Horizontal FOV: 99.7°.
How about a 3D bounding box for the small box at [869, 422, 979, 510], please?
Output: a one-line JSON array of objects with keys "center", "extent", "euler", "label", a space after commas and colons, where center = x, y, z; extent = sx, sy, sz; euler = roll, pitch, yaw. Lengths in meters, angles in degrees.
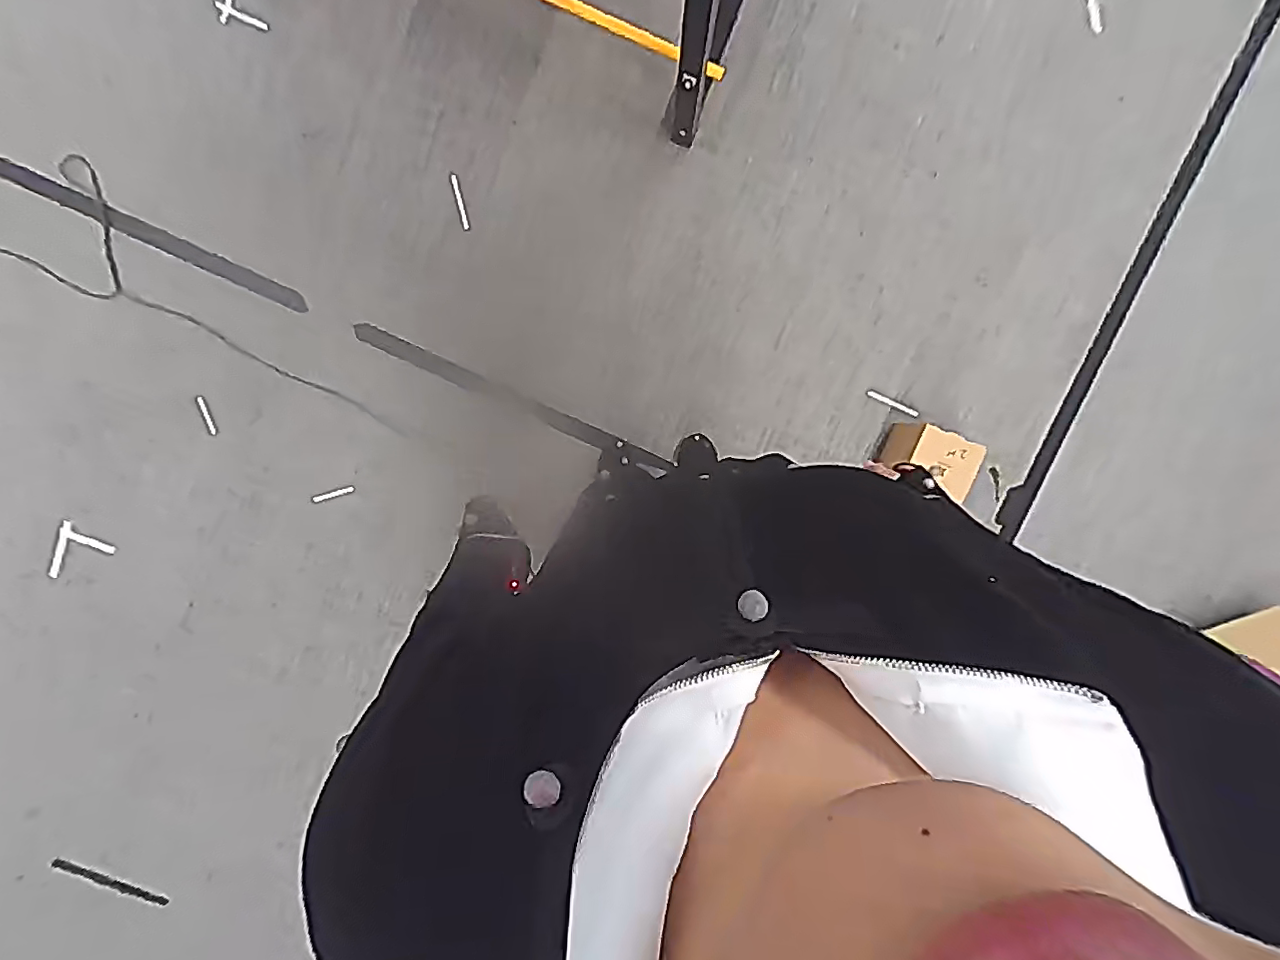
[{"center": [0.726, -0.041, 1.408], "extent": [0.168, 0.176, 0.179], "euler": [22, 96, -3], "label": "small box"}]
